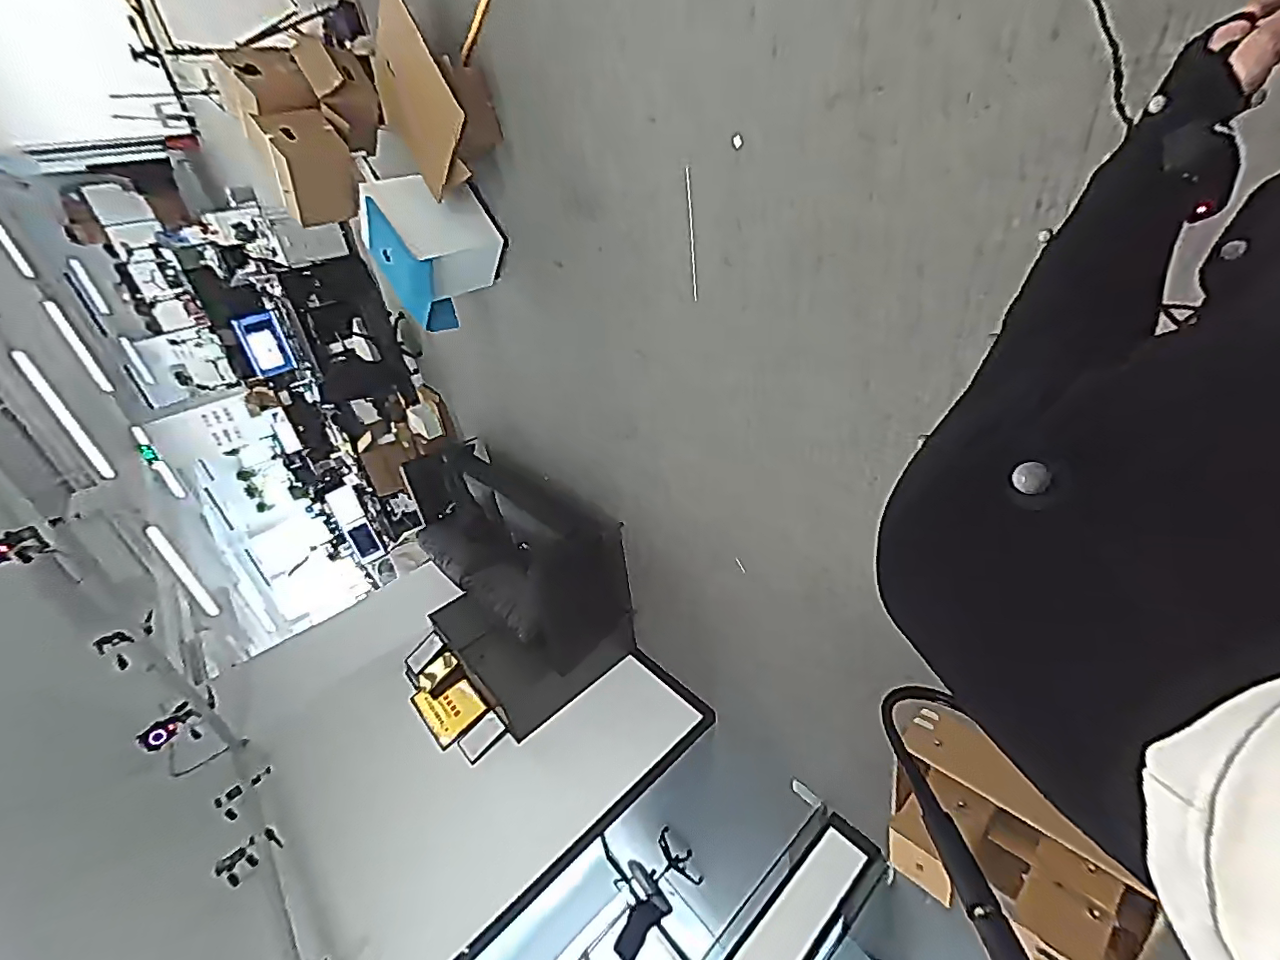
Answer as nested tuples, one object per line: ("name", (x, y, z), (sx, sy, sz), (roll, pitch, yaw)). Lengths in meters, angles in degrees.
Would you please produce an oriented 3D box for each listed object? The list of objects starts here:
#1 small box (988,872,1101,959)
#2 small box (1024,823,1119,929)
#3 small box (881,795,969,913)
("small box", (0.987, 1.115, 1.318), (0.168, 0.176, 0.179), (24, 135, 43))
("small box", (1.108, 1.045, 1.403), (0.168, 0.176, 0.179), (20, 131, 45))
("small box", (0.797, 1.033, 1.512), (0.168, 0.176, 0.179), (18, 128, 48))
